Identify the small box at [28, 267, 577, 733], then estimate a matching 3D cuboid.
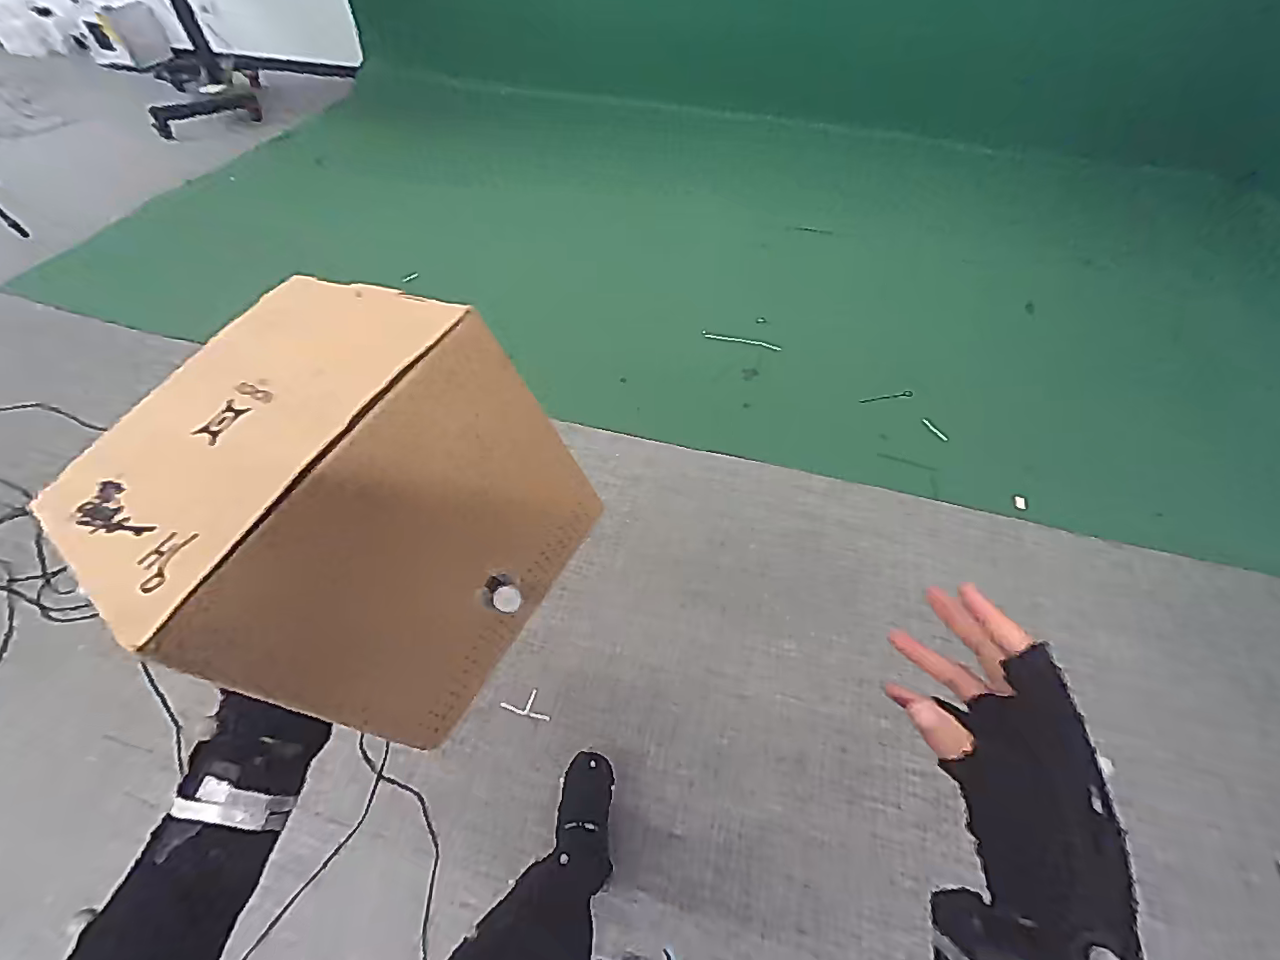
[{"bbox_3d":[-0.157,0.009,0.308,0.168,0.176,0.179,19,63,32],"label":"small box"}]
